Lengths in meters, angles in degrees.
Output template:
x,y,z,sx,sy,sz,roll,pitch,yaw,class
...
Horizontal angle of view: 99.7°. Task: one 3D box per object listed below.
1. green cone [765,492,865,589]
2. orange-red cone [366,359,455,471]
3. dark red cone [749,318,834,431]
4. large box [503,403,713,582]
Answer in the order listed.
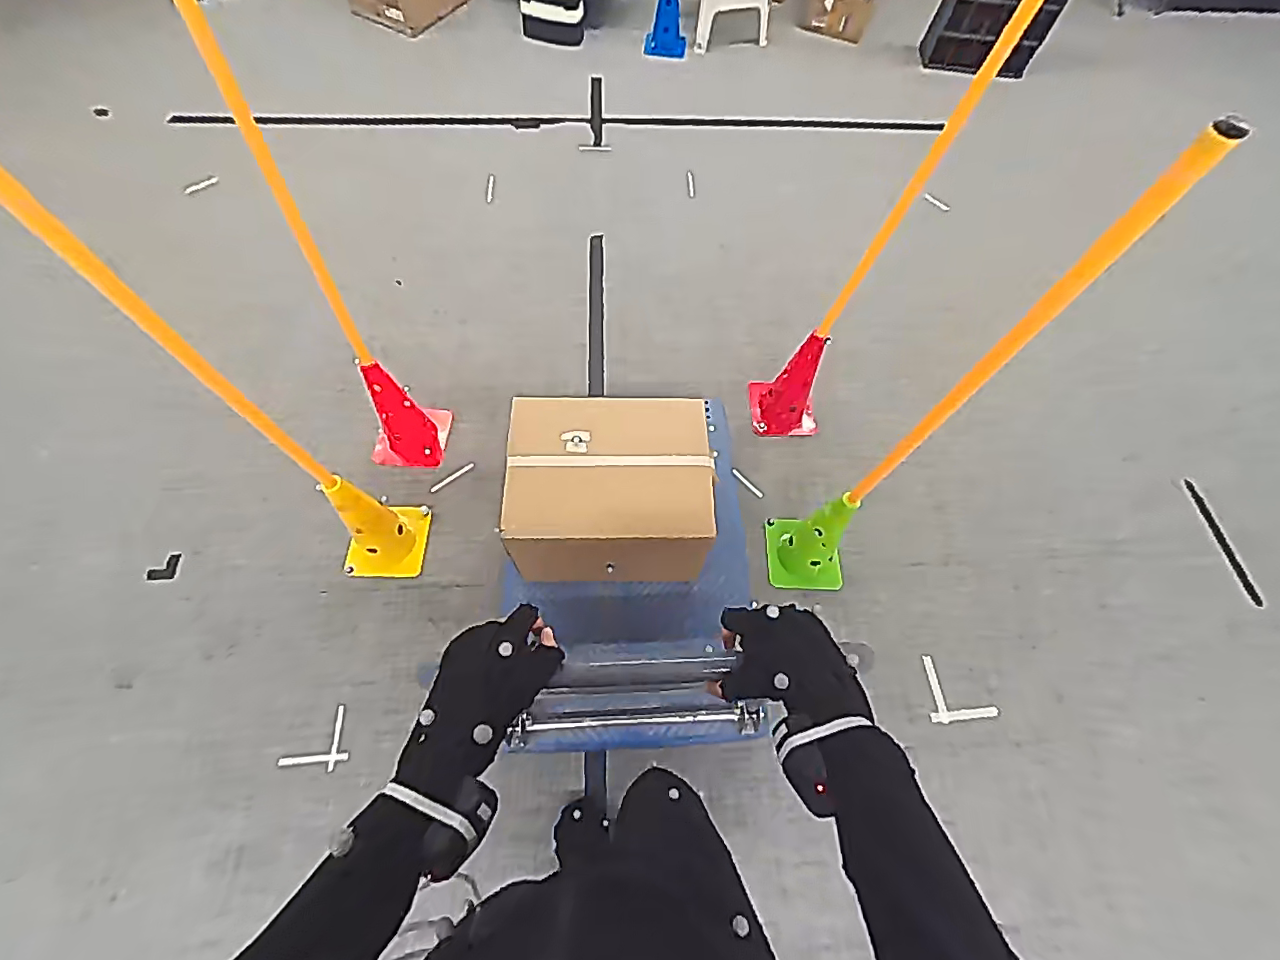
x,y,z,sx,sy,sz,roll,pitch,yaw,class
0.464,0.128,1.355,0.202,0.368,0.200,3,63,-3,green cone
-0.662,-0.202,1.471,0.198,0.360,0.199,6,62,-1,orange-red cone
0.463,-0.313,1.558,0.201,0.394,0.202,0,64,-5,dark red cone
-0.065,0.041,1.214,0.408,0.320,0.320,0,64,-2,large box
